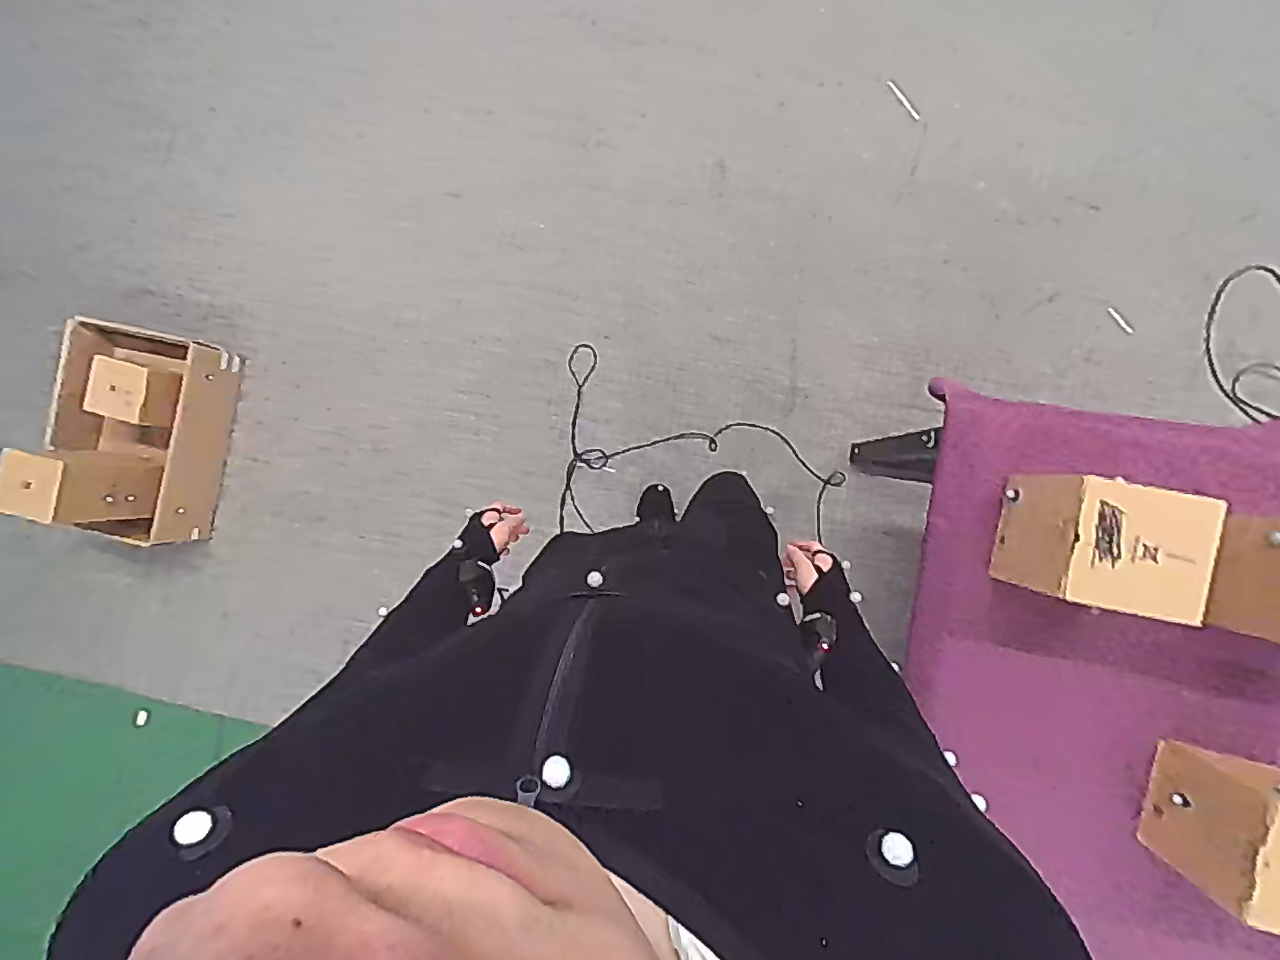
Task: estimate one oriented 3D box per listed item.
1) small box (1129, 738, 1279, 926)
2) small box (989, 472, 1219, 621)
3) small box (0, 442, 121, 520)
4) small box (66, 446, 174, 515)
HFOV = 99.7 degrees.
[{"bbox_3d":[0.873,0.500,0.774,0.179,0.176,0.168,13,92,5],"label":"small box"},{"bbox_3d":[0.647,0.086,0.779,0.179,0.176,0.168,11,92,2],"label":"small box"},{"bbox_3d":[-1.561,0.004,1.441,0.179,0.176,0.168,14,91,3],"label":"small box"},{"bbox_3d":[-1.553,0.002,1.603,0.179,0.176,0.168,14,92,4],"label":"small box"}]
